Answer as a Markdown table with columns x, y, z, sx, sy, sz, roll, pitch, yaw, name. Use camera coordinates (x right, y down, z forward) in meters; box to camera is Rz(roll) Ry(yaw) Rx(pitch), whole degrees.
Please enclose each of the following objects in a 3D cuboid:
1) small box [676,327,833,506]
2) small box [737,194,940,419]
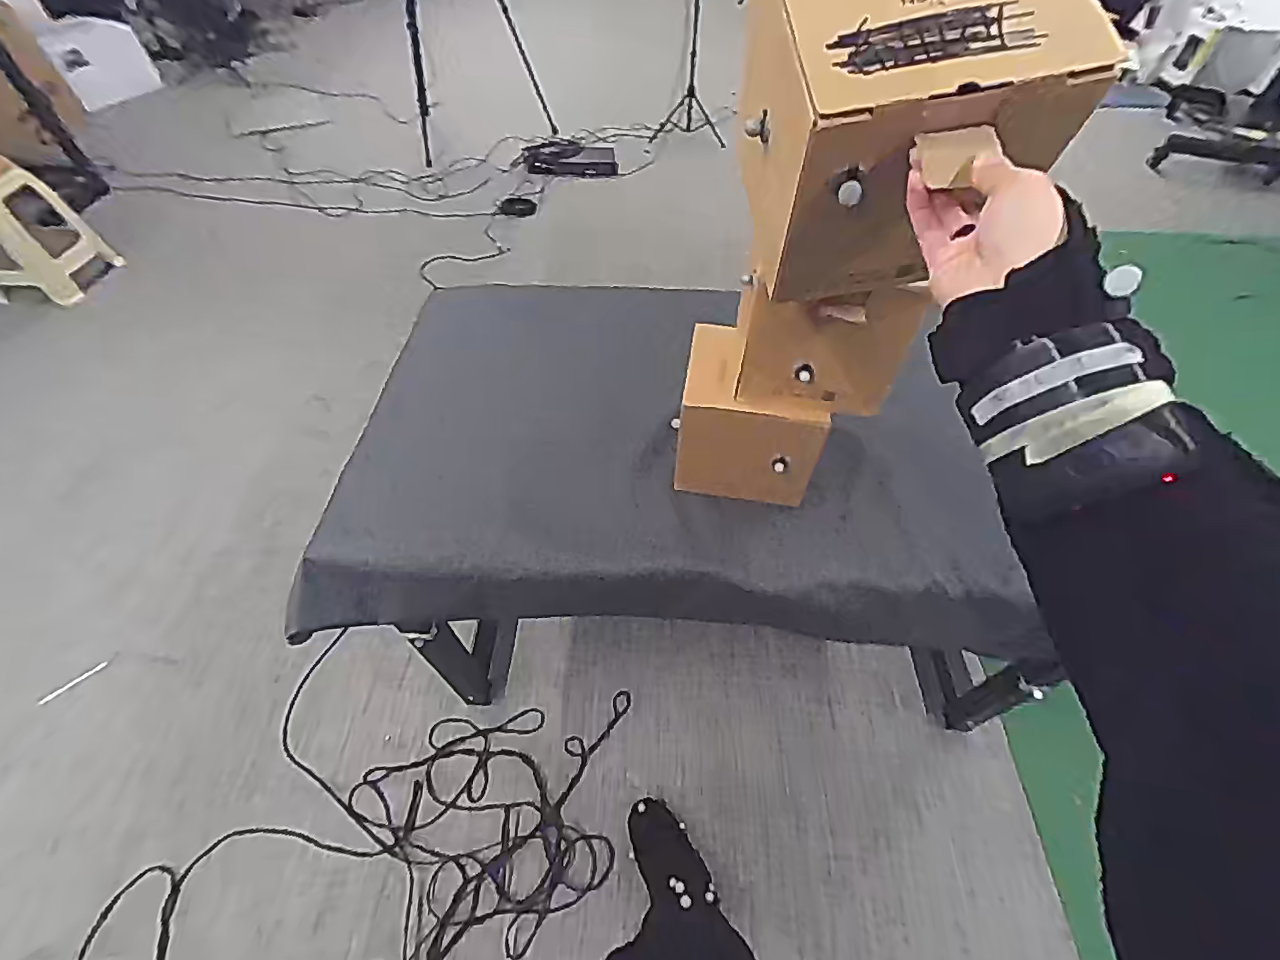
| x | y | z | sx | sy | sz | roll | pitch | yaw | name |
| --- | --- | --- | --- | --- | --- | --- | --- | --- | --- |
| 0.149 | -0.082 | 0.734 | 0.179 | 0.176 | 0.168 | 8 | 51 | 7 | small box |
| 0.208 | -0.197 | 0.619 | 0.168 | 0.176 | 0.179 | 7 | 52 | 4 | small box |
